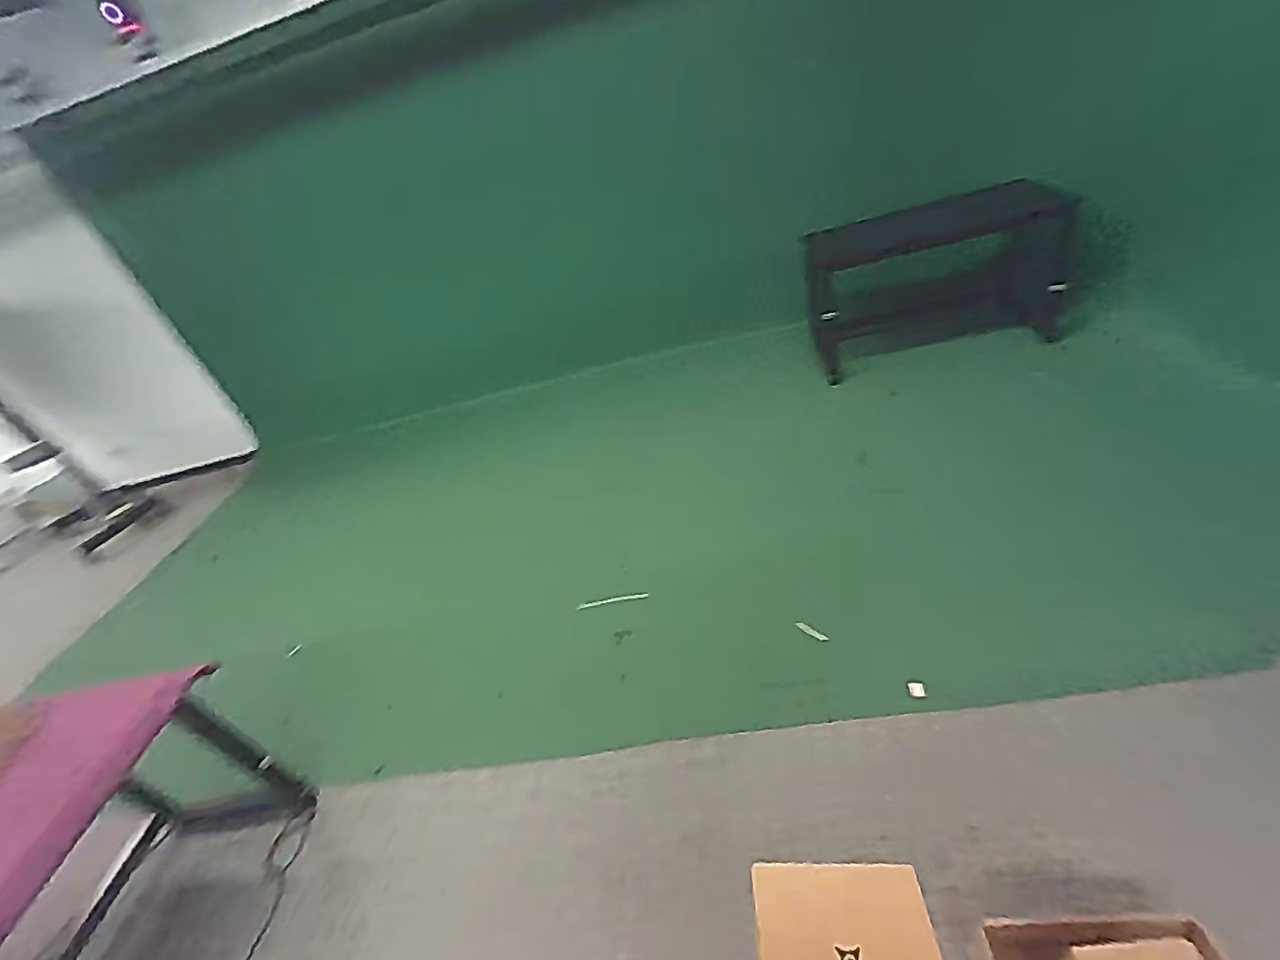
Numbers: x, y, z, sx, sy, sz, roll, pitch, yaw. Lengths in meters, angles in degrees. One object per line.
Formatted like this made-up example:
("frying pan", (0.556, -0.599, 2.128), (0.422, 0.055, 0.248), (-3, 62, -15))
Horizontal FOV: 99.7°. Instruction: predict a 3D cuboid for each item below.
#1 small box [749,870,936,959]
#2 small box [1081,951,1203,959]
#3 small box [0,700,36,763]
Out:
("small box", (0.197, 0.519, 0.526), (0.168, 0.176, 0.179), (-5, 30, 7))
("small box", (0.818, 0.872, 0.850), (0.179, 0.176, 0.168), (-12, 34, 9))
("small box", (-1.779, 0.678, 1.410), (0.179, 0.176, 0.168), (-10, 37, 10))
